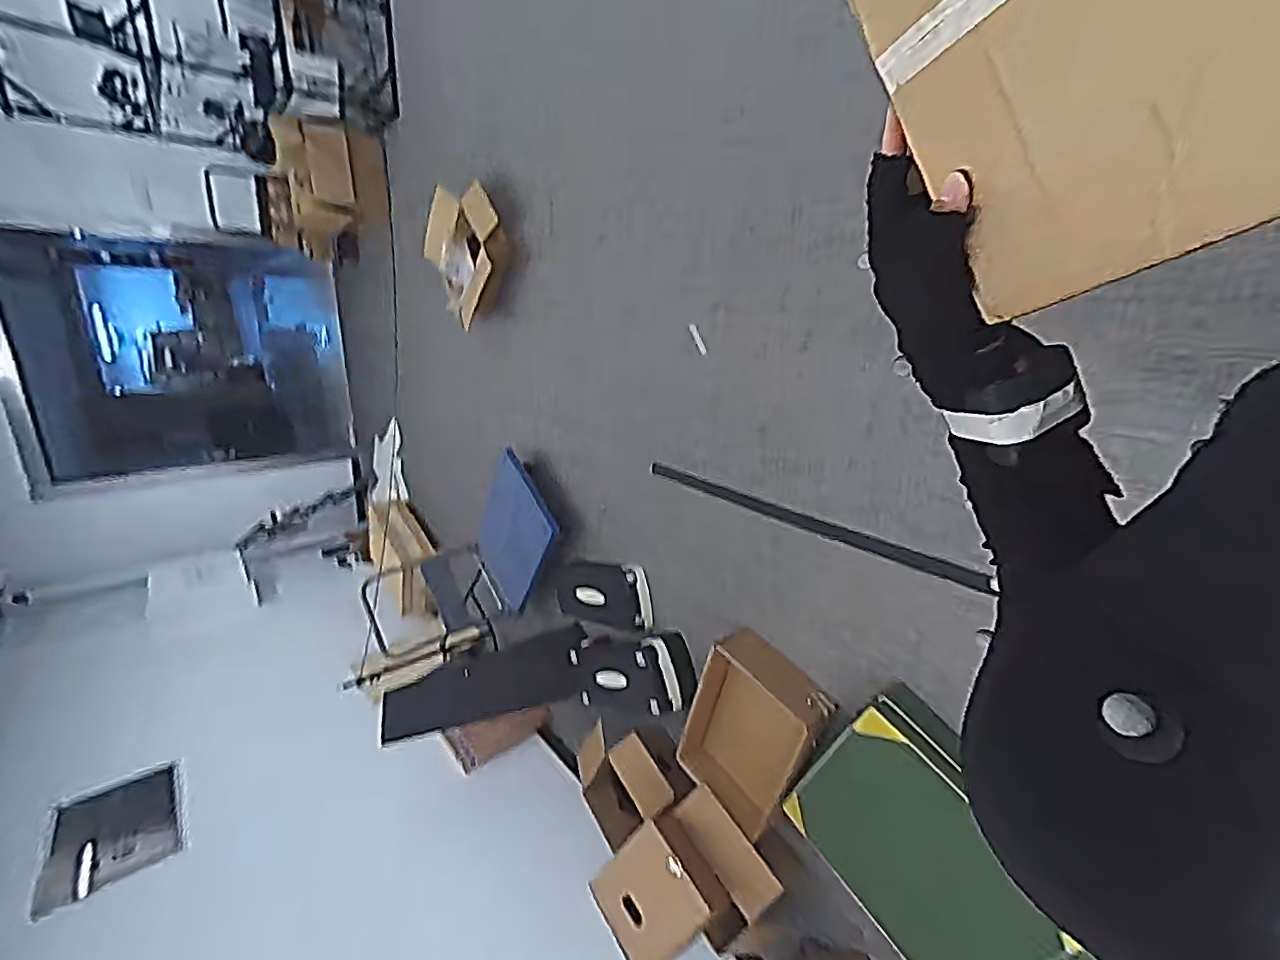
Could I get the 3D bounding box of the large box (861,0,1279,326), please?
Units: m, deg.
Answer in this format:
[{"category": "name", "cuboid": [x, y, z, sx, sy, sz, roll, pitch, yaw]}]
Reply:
[{"category": "large box", "cuboid": [0.367, -0.328, 0.241, 0.408, 0.320, 0.320, -17, 100, 55]}]
